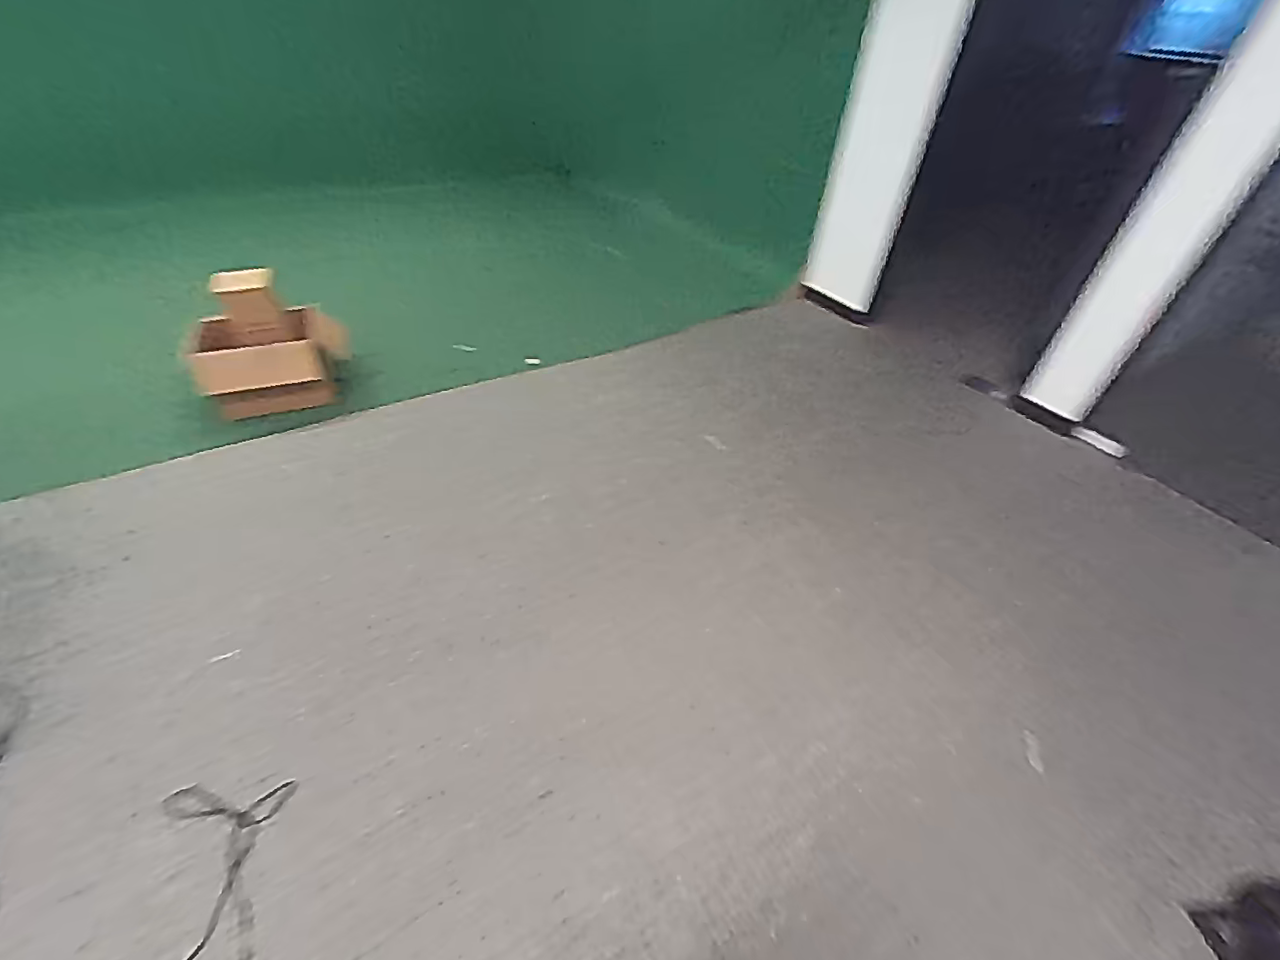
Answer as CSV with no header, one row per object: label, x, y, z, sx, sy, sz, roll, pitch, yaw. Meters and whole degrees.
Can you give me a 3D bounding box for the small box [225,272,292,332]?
small box,-1.469,-0.683,2.093,0.168,0.176,0.179,-15,45,-20
